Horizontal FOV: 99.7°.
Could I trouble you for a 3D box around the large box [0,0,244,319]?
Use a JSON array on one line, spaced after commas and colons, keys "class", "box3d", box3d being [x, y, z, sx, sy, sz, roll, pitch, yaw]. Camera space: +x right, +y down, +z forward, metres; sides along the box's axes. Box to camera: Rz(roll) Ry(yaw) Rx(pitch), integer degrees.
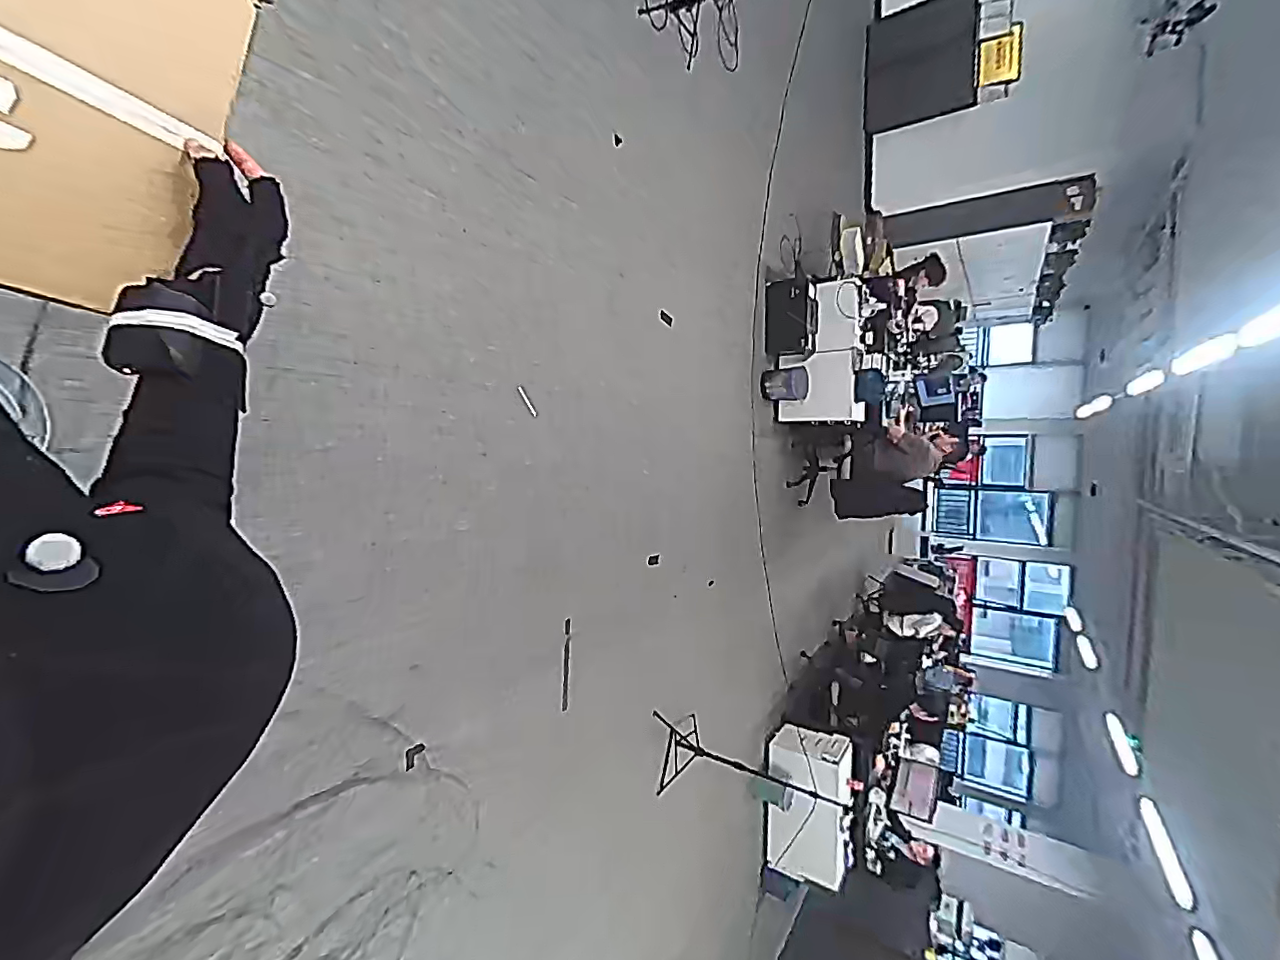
[{"class": "large box", "box3d": [-0.605, -0.342, 0.384, 0.408, 0.320, 0.320, 11, 95, -59]}]
